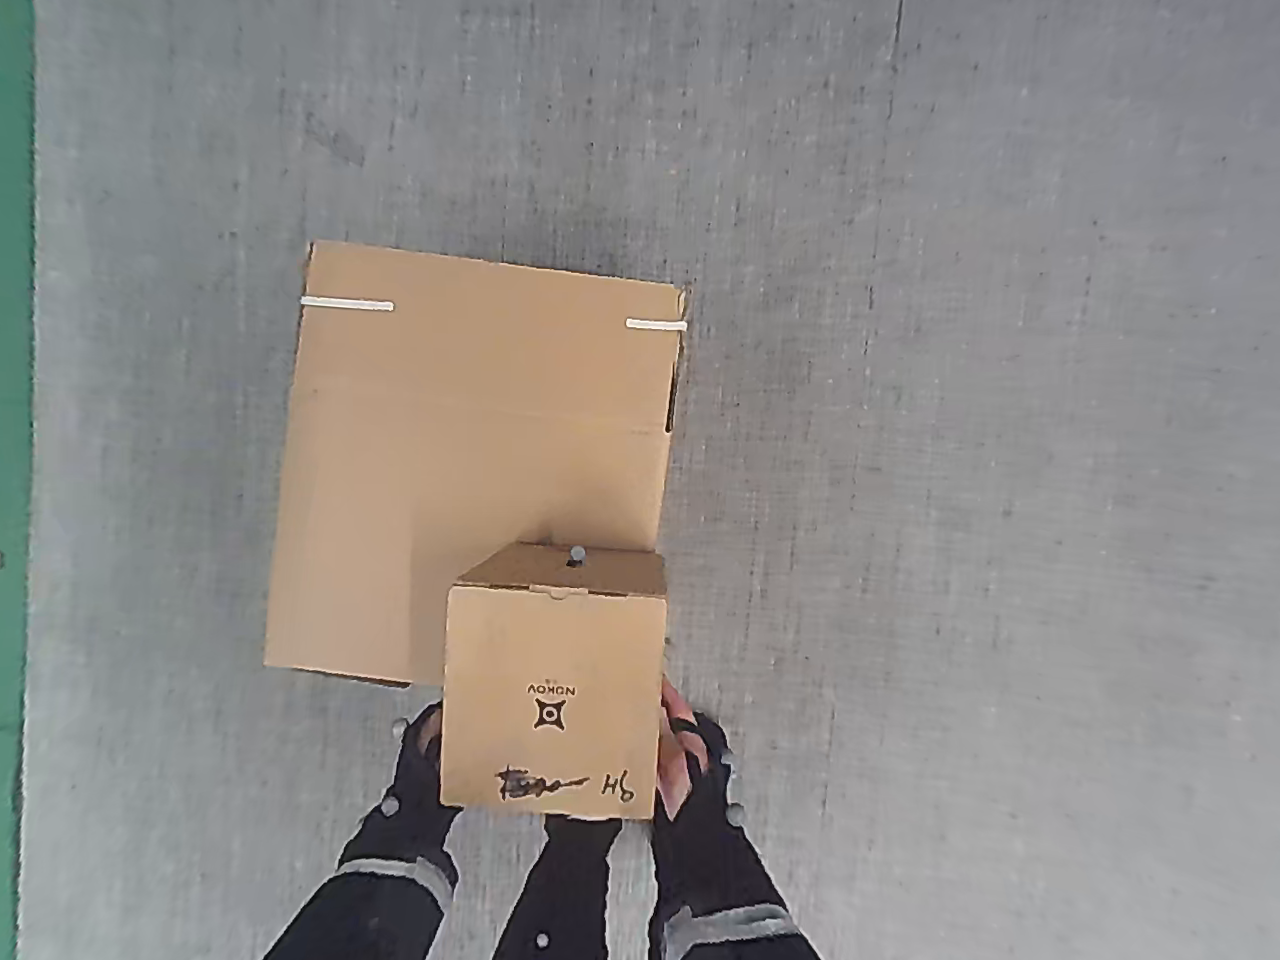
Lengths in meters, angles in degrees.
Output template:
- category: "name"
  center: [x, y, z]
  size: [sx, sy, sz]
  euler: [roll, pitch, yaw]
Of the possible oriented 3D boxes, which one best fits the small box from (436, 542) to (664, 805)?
- category: "small box"
  center: [-0.069, 0.156, 0.493]
  size: [0.168, 0.176, 0.179]
  euler: [4, 92, 1]
